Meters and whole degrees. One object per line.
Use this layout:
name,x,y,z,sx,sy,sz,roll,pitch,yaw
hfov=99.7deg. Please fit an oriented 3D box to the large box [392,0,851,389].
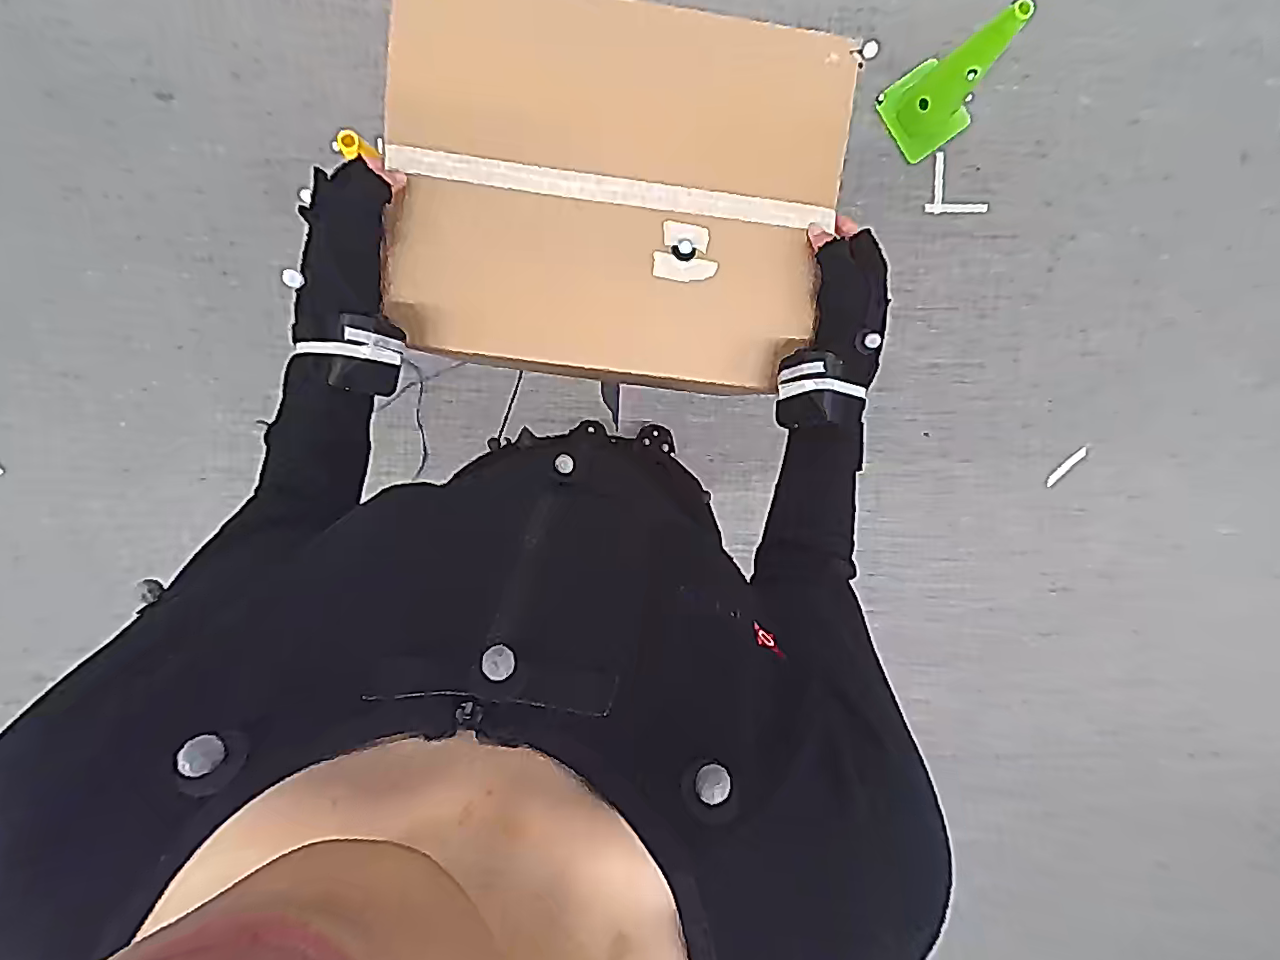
large box,-0.030,-0.284,0.639,0.408,0.320,0.320,6,99,-5

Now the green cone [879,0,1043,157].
green cone,0.762,-0.961,1.244,0.202,0.368,0.200,-36,97,-1
